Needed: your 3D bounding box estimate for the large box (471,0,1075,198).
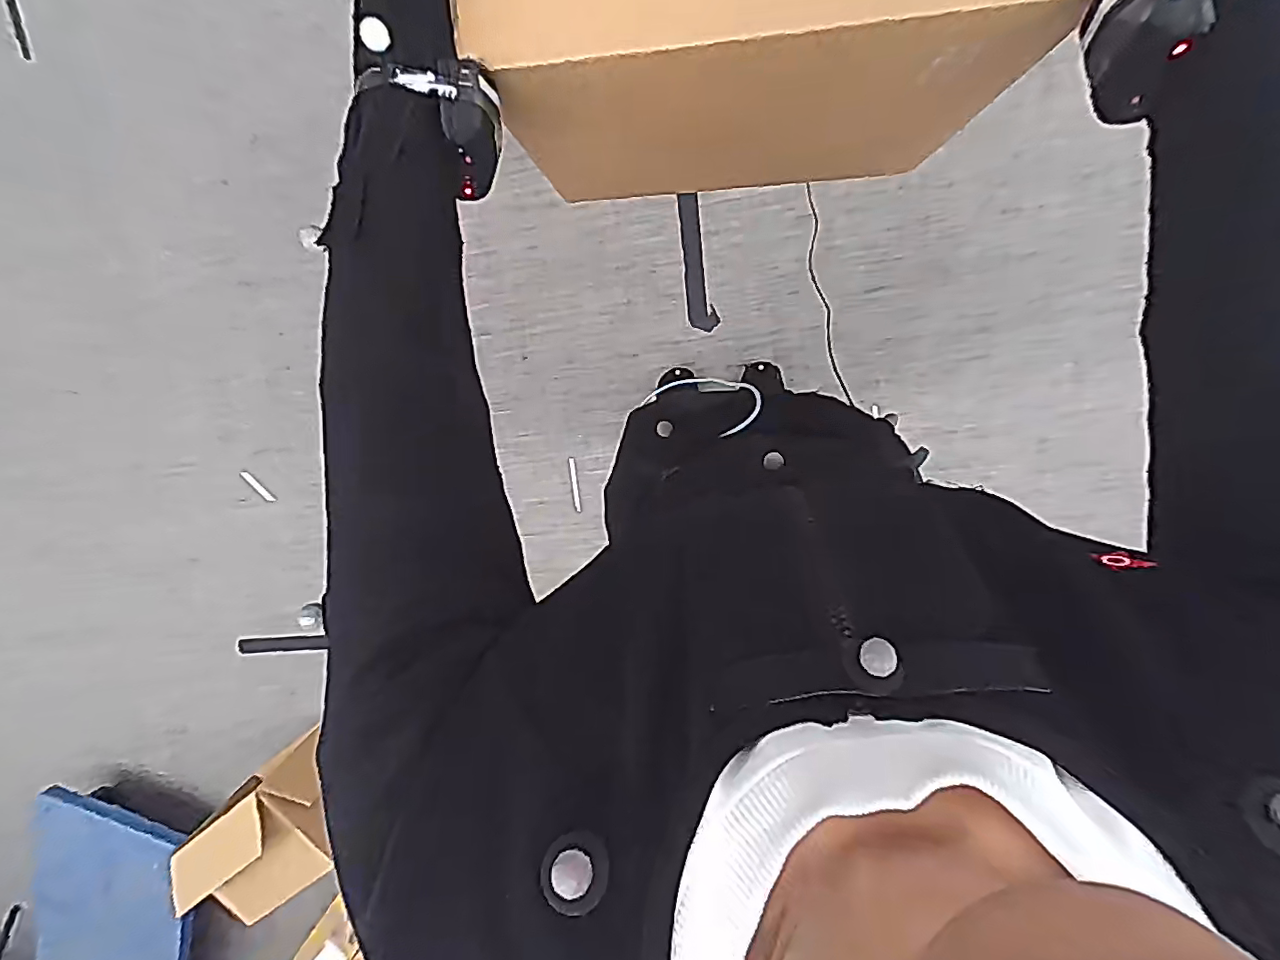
[{"bbox_3d":[0.086,-0.468,0.461,0.408,0.320,0.320,-3,102,5],"label":"large box"}]
